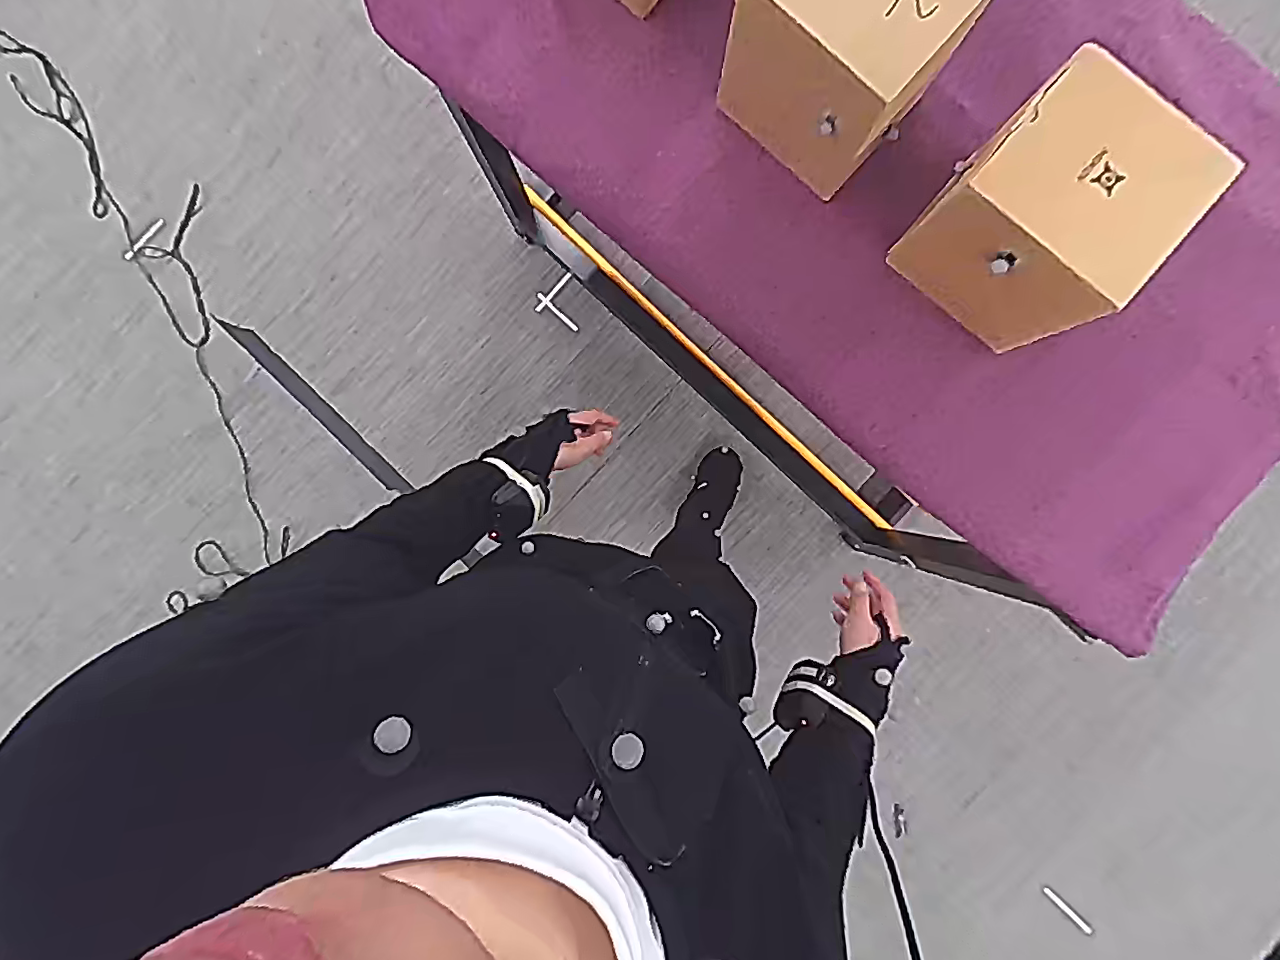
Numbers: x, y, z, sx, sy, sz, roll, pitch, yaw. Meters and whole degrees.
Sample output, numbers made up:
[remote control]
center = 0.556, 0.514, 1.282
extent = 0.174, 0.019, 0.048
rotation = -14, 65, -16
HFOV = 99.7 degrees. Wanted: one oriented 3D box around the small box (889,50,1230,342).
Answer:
[small box]
center = 0.402, -0.263, 0.555
extent = 0.179, 0.176, 0.168
rotation = 41, 90, 2
